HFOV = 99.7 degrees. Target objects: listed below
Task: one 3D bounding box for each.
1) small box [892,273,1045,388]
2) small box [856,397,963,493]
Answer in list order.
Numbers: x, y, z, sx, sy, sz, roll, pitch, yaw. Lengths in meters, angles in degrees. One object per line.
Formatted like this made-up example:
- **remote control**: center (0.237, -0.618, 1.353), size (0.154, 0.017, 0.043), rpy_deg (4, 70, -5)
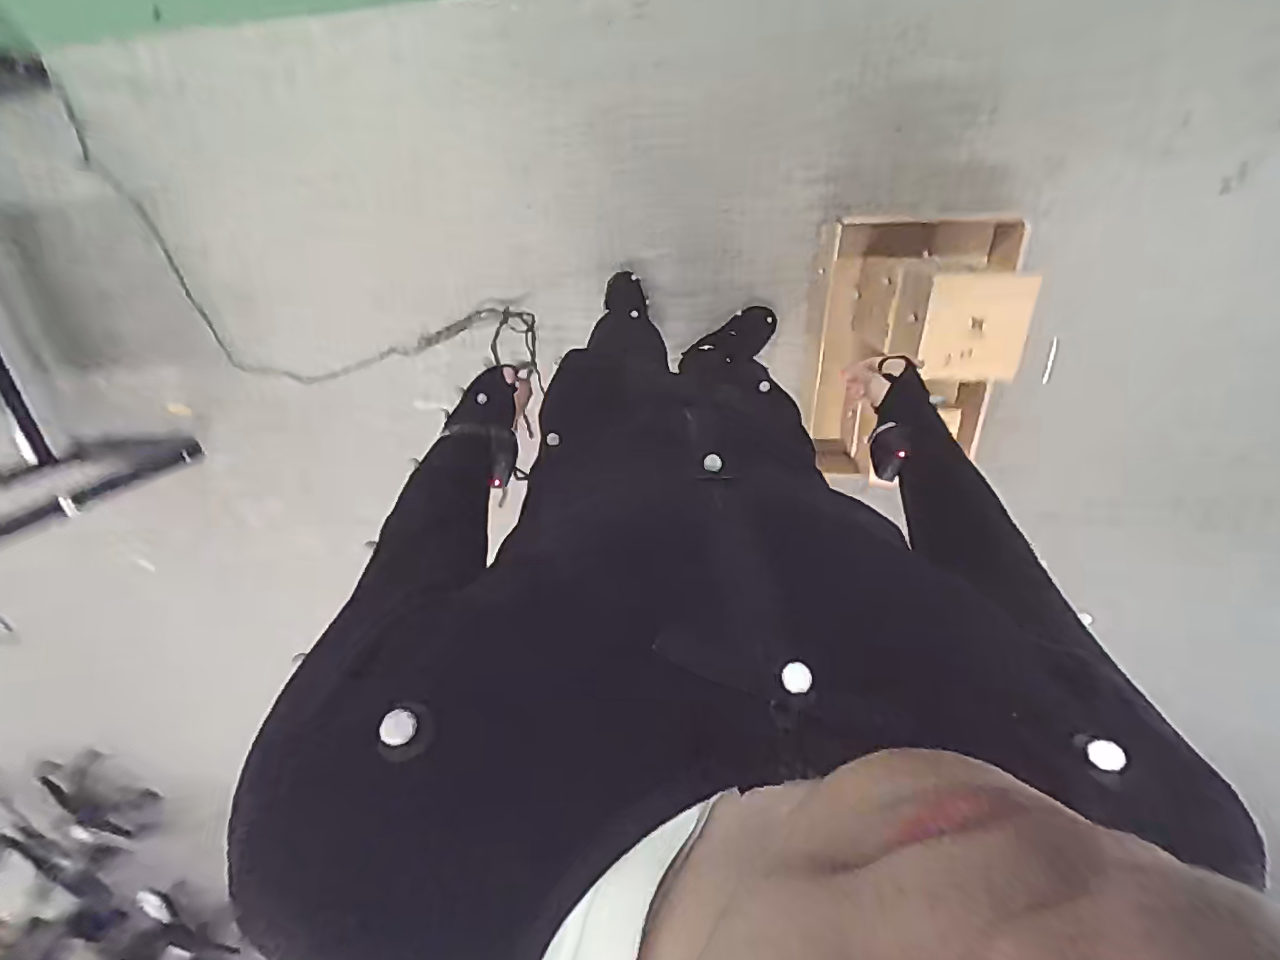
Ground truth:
- **small box**: center (0.571, -0.274, 0.969), size (0.168, 0.176, 0.179), rpy_deg (4, 115, 7)
- **small box**: center (0.601, -0.086, 1.230), size (0.168, 0.176, 0.179), rpy_deg (3, 114, 10)
